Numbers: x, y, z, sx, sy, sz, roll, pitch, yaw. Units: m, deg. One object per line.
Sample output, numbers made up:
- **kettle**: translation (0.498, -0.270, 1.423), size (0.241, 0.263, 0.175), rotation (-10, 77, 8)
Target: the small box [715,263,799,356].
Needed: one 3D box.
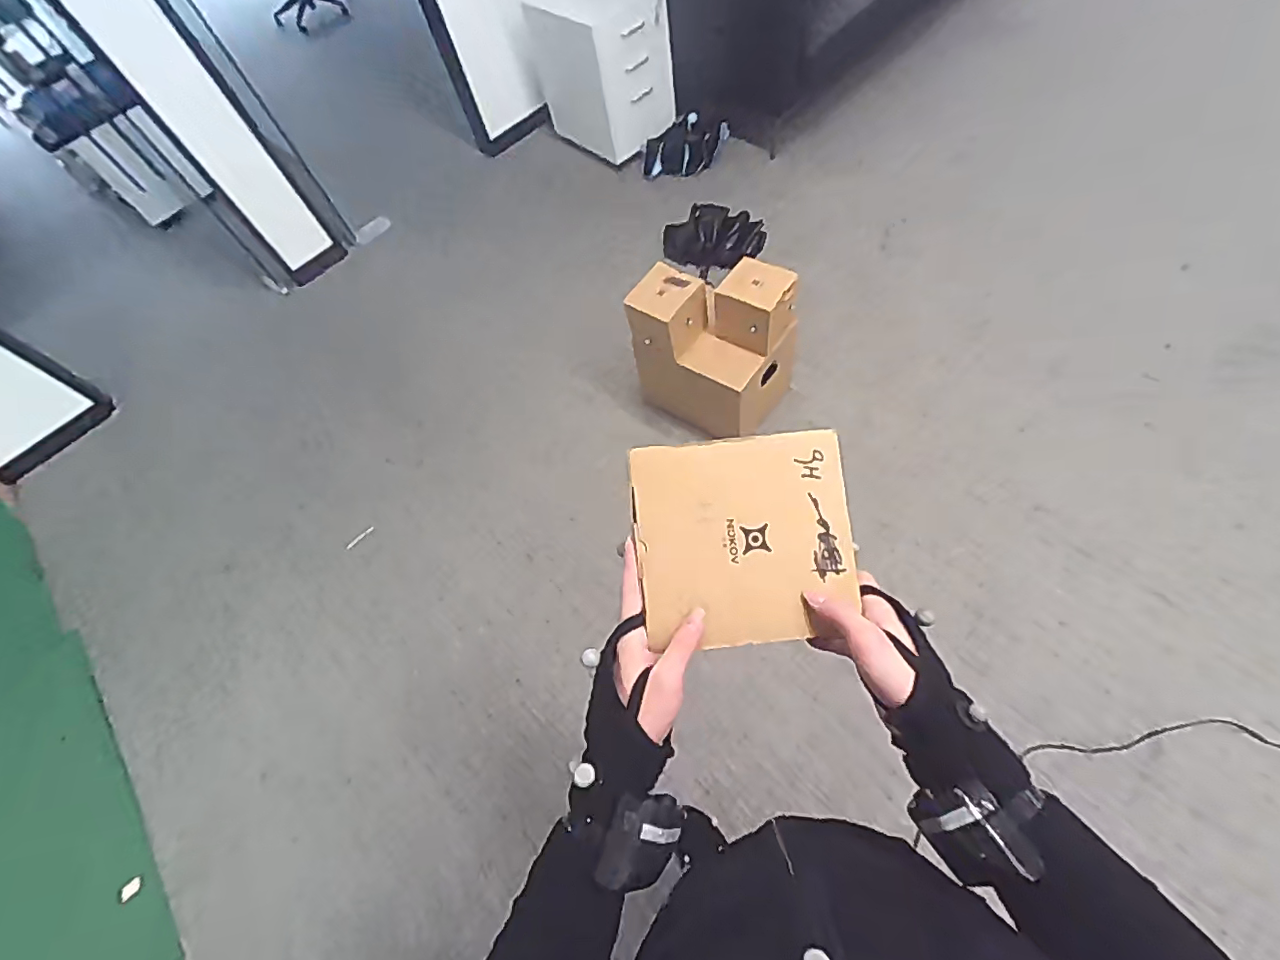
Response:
- **small box**: translation (0.331, -0.483, 1.545), size (0.179, 0.176, 0.168), rotation (27, 66, 25)

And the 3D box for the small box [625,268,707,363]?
- **small box**: translation (0.084, -0.481, 1.590), size (0.168, 0.176, 0.179), rotation (32, 74, 25)
